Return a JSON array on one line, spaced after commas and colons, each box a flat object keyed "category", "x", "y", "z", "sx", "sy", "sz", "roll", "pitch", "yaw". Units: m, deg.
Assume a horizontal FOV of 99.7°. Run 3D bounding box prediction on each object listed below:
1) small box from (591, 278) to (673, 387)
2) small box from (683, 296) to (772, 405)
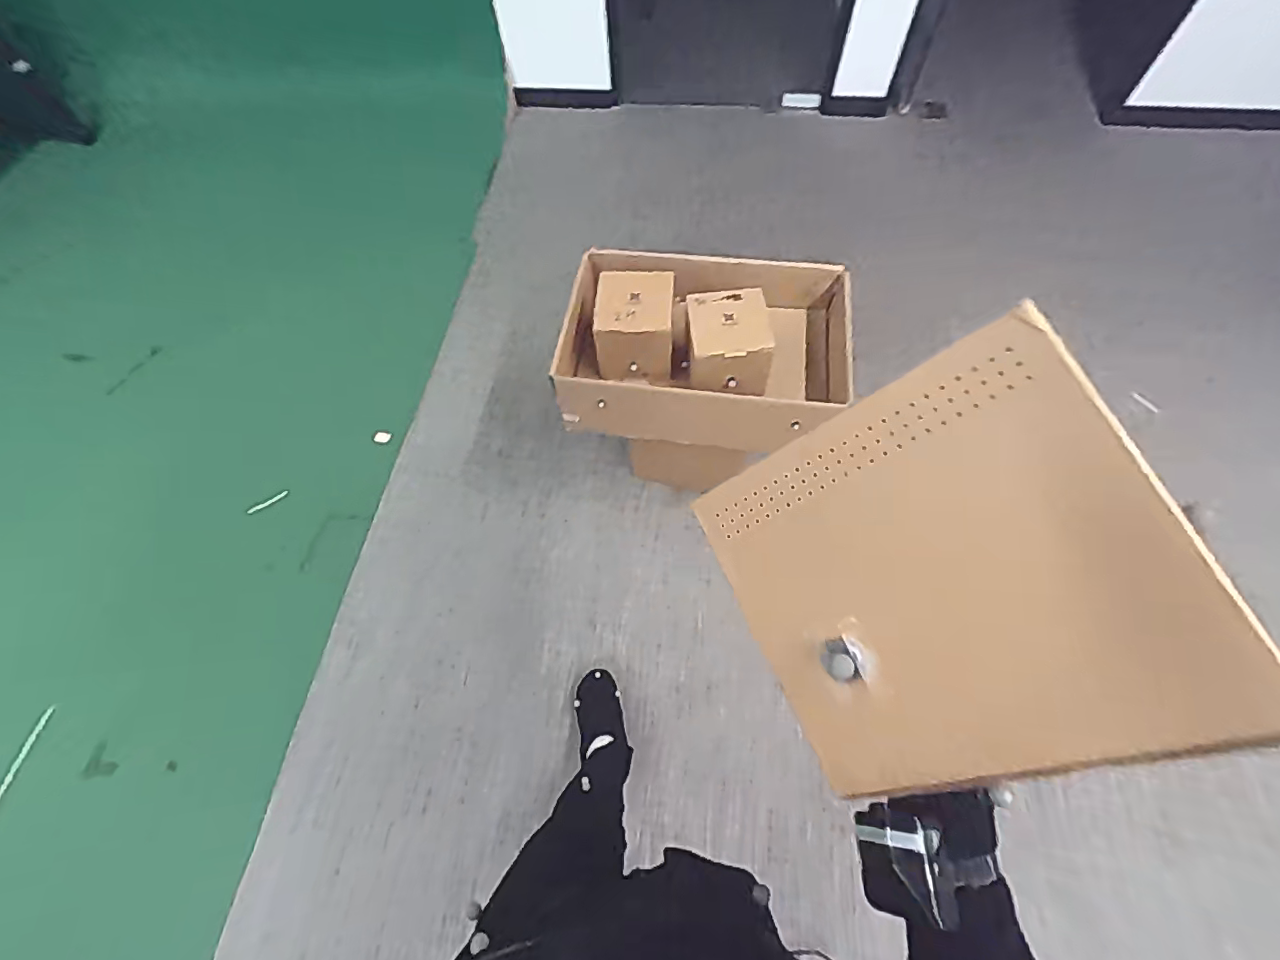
[{"category": "small box", "x": -0.013, "y": -0.335, "z": 1.236, "sx": 0.168, "sy": 0.176, "sz": 0.179, "roll": 2, "pitch": 62, "yaw": 4}, {"category": "small box", "x": 0.186, "y": -0.278, "z": 1.199, "sx": 0.168, "sy": 0.176, "sz": 0.179, "roll": -4, "pitch": 62, "yaw": 0}]
